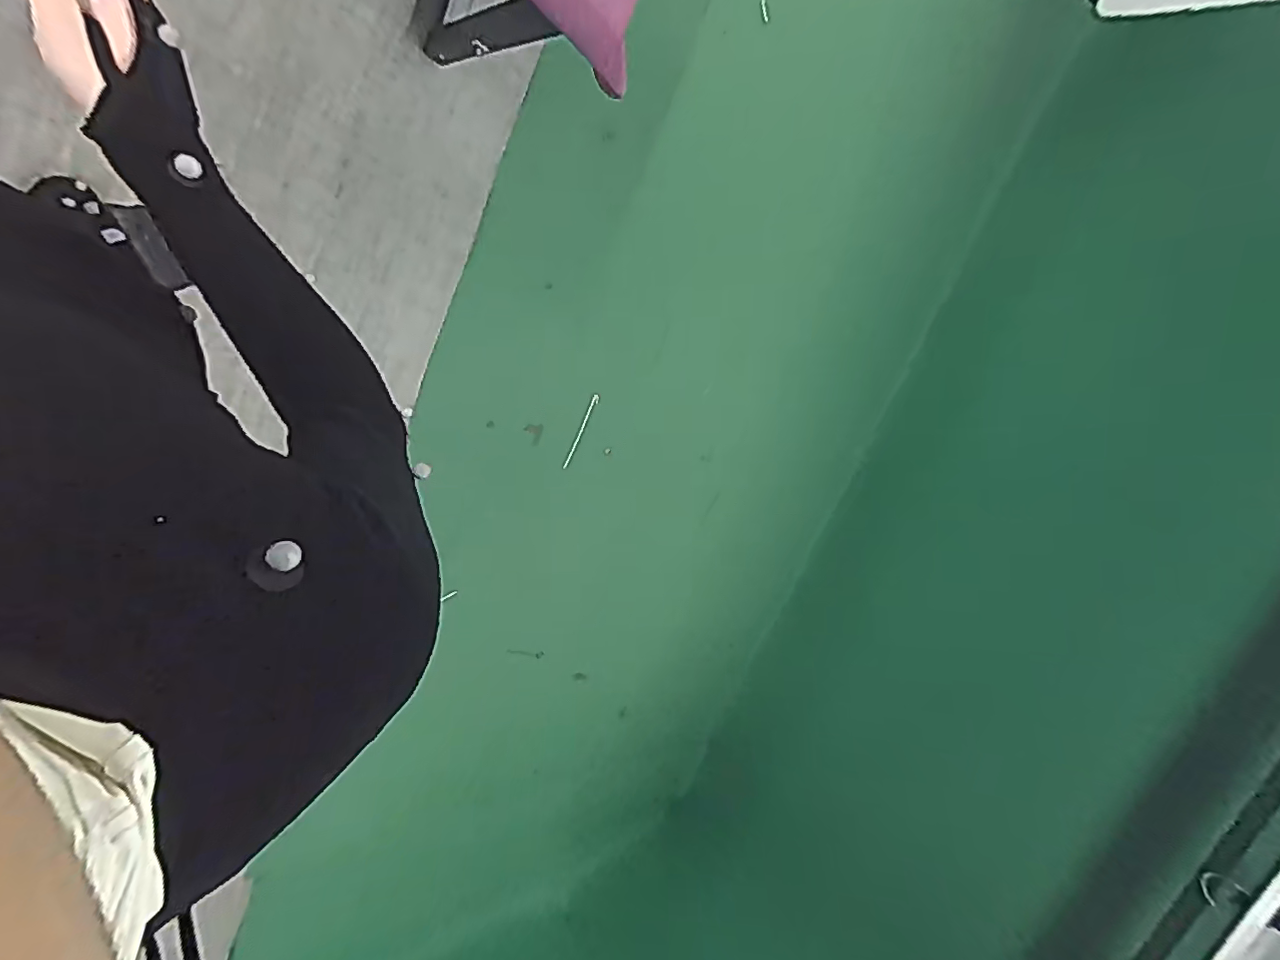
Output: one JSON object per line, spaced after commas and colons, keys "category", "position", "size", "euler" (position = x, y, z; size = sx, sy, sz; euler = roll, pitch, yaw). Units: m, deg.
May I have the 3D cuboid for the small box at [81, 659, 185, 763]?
{"category": "small box", "position": [-1.327, 0.597, 1.420], "size": [0.168, 0.176, 0.179], "euler": [14, 105, -48]}
